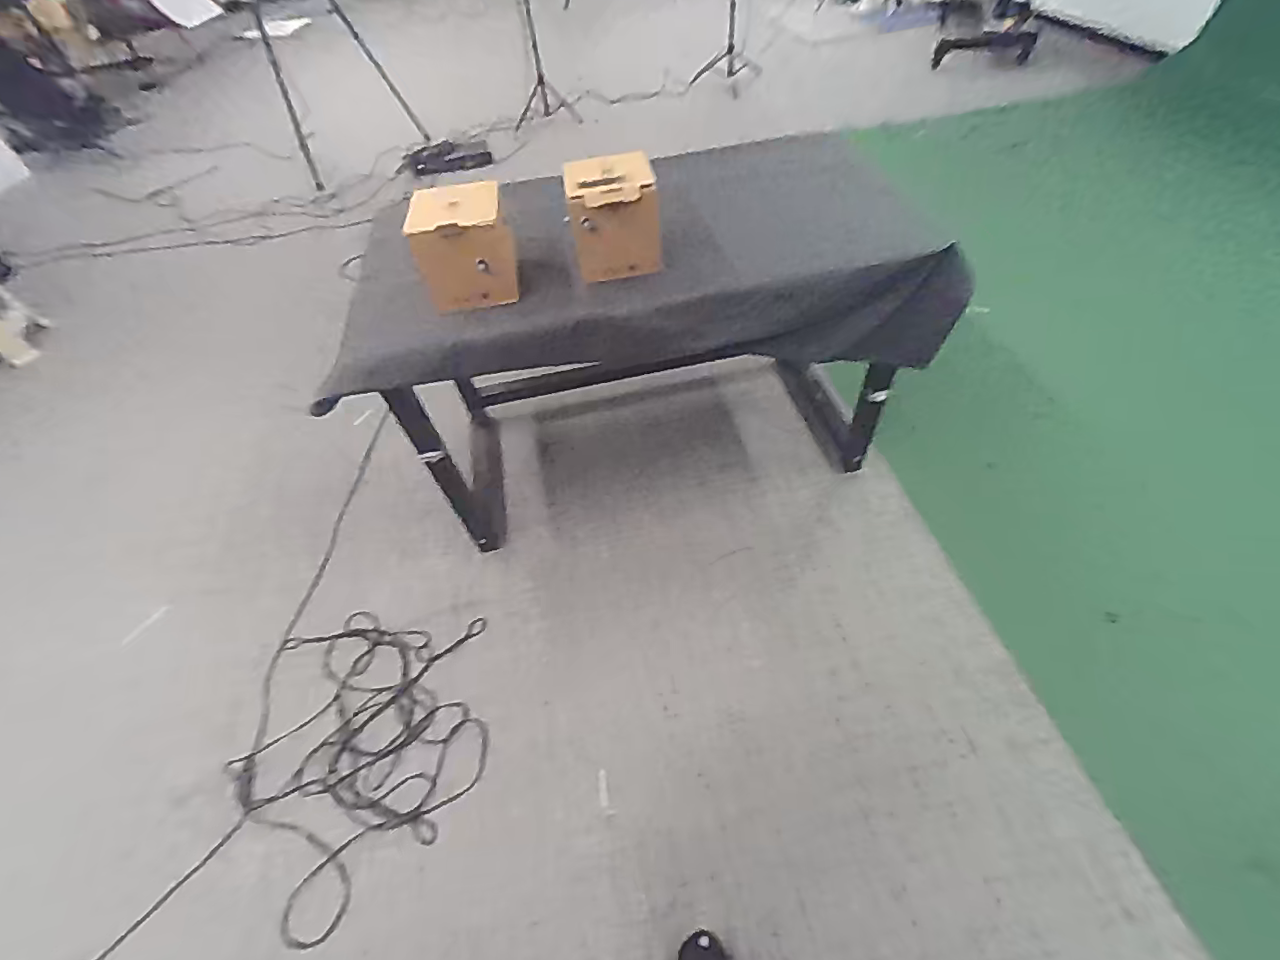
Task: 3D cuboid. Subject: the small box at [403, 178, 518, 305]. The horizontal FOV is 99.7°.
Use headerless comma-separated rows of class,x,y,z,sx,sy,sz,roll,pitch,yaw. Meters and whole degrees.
small box,-0.337,-0.455,1.050,0.168,0.176,0.179,-9,50,-3
